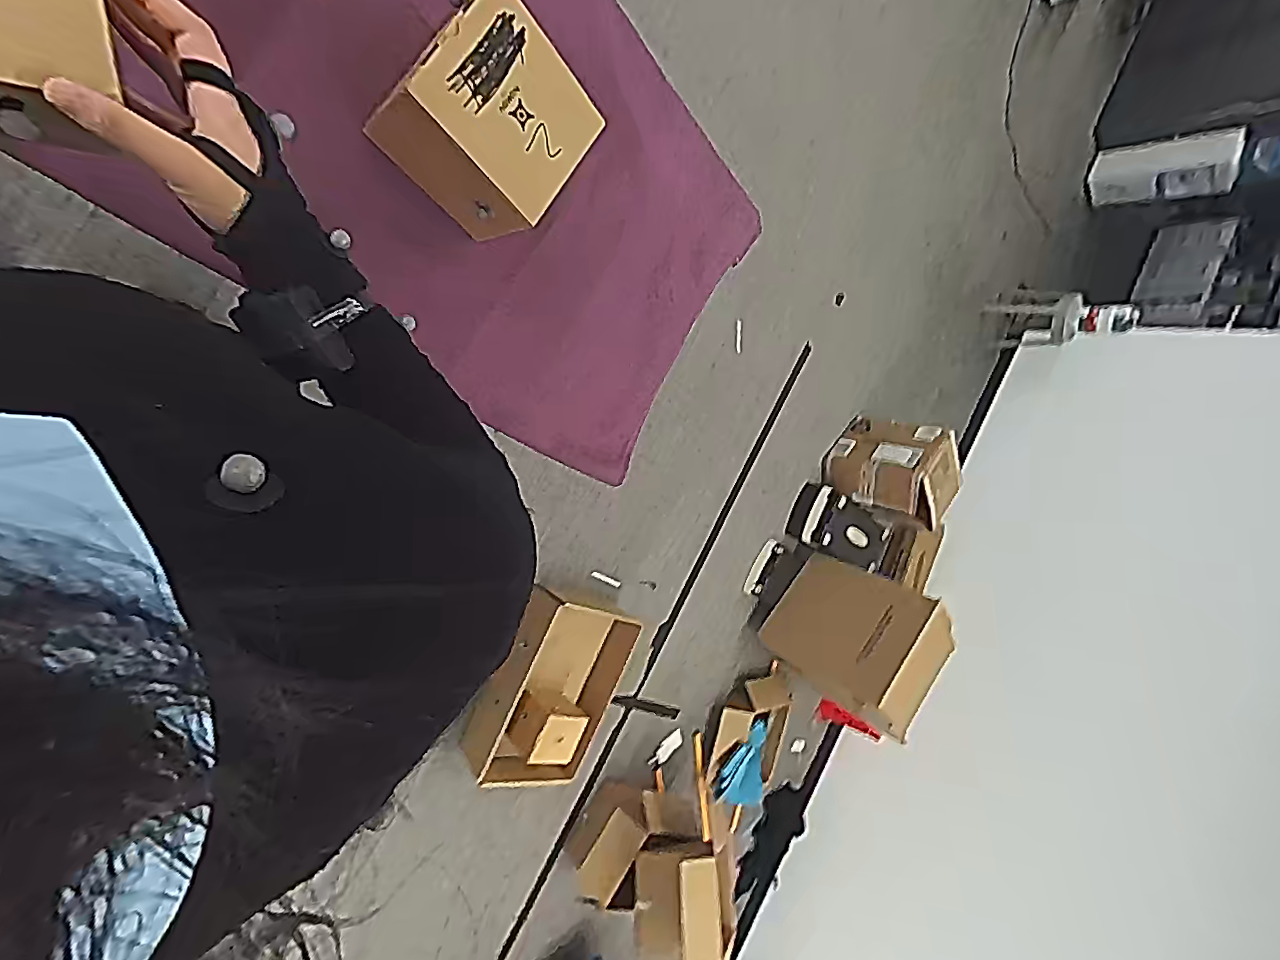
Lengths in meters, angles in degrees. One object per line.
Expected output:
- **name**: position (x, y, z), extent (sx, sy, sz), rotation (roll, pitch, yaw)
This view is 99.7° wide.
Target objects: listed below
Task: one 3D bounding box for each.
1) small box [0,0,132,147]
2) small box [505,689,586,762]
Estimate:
- **small box**: position (-0.389, -0.290, 0.274), extent (0.179, 0.176, 0.168), rotation (-10, 111, -40)
- **small box**: position (-0.324, 0.832, 1.836), extent (0.179, 0.176, 0.168), rotation (28, 85, -41)
